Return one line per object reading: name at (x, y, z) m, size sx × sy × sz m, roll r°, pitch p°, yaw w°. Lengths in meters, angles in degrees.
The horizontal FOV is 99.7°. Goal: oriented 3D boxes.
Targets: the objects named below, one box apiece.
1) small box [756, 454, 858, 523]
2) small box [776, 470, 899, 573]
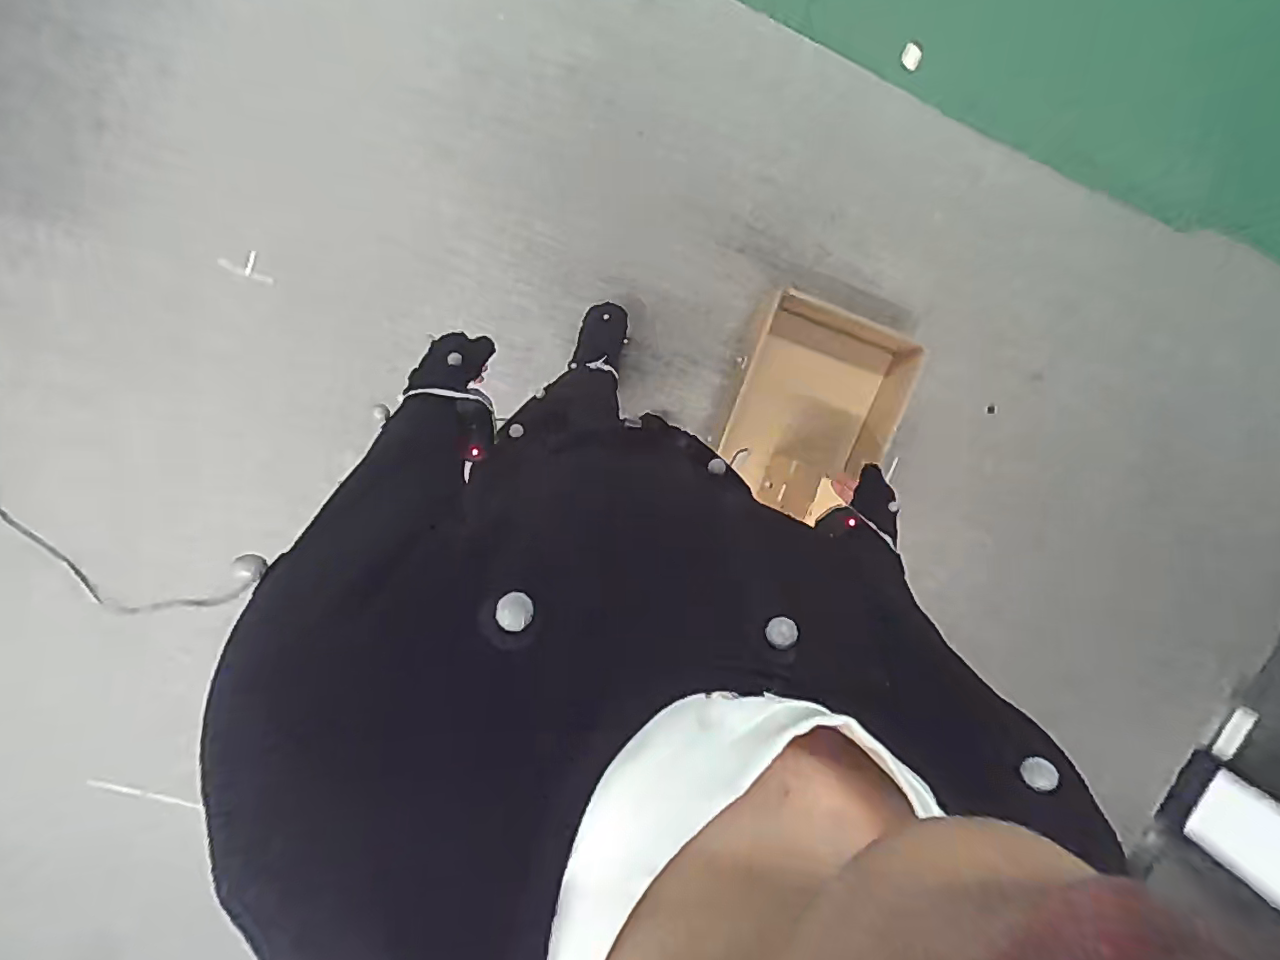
small box at (0.418, 0.036, 1.386) m, size 0.179 × 0.176 × 0.168 m, roll 15°, pitch 98°, yaw -8°
small box at (0.429, 0.084, 1.211) m, size 0.179 × 0.176 × 0.168 m, roll 19°, pitch 99°, yaw -8°
